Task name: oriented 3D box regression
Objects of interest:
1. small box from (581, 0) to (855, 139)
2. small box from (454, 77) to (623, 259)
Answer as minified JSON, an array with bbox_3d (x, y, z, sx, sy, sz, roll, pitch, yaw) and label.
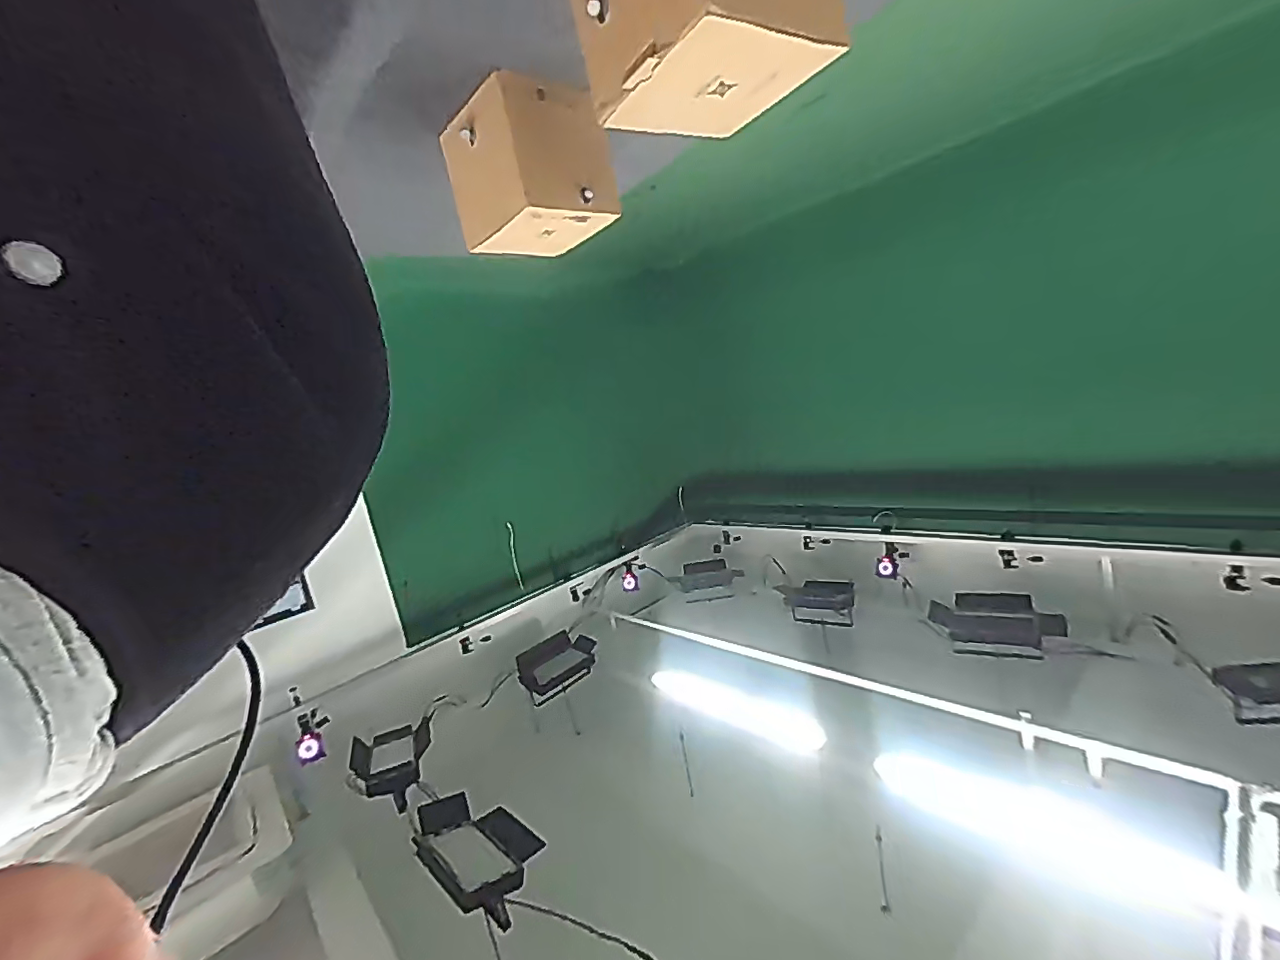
[{"bbox_3d":[0.058,-0.439,0.483,0.179,0.176,0.168,-20,-167,-30],"label":"small box"},{"bbox_3d":[-0.152,-0.436,0.787,0.168,0.176,0.179,-20,-168,-41],"label":"small box"}]
